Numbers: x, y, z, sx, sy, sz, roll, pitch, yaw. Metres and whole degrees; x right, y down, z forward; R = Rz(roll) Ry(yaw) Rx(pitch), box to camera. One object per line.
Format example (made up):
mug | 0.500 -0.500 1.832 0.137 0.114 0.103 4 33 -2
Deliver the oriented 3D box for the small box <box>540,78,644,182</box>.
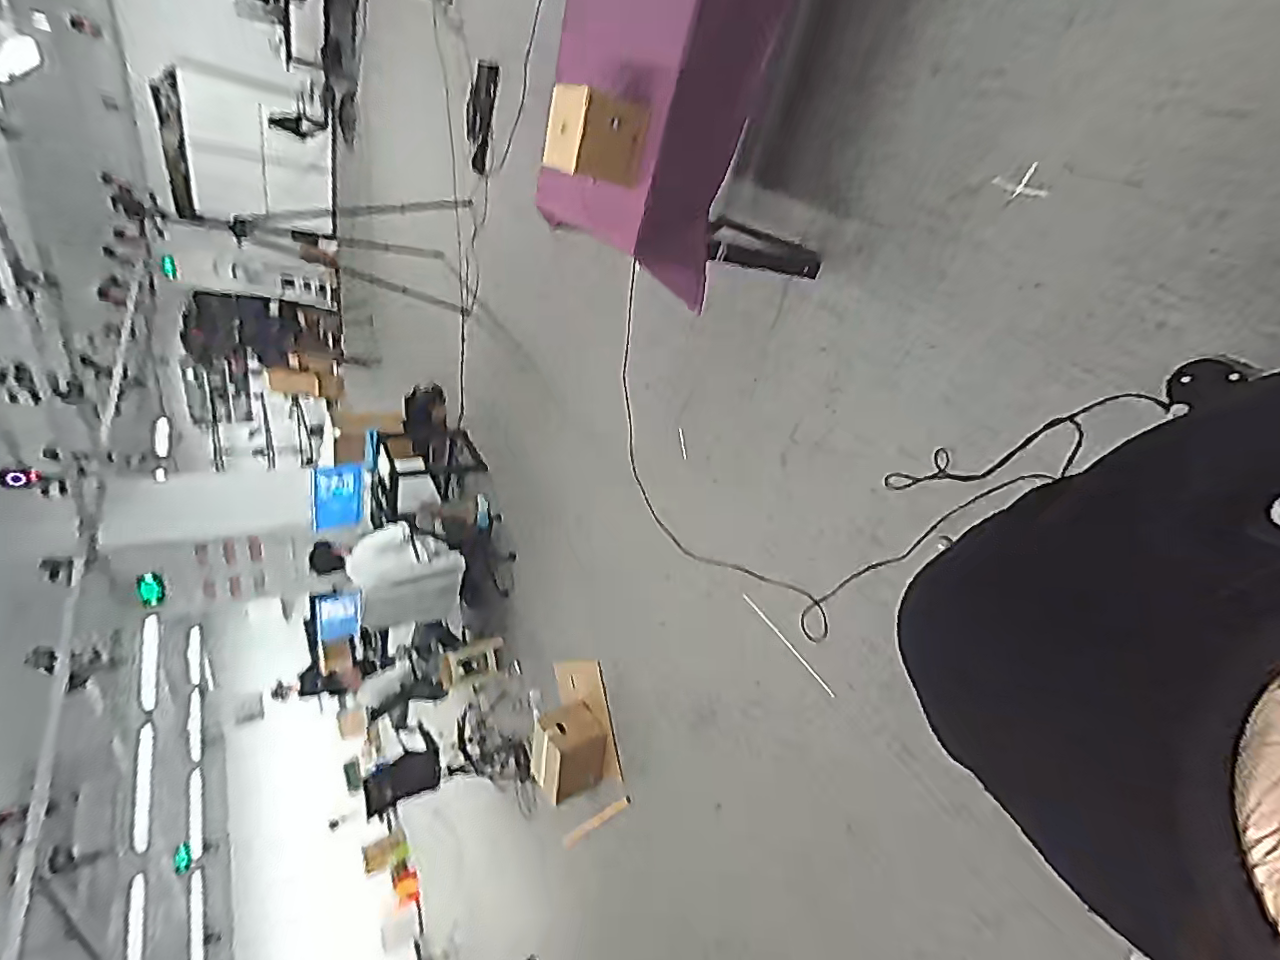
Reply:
small box | -0.114 -0.821 1.276 0.179 0.176 0.168 45 129 41
